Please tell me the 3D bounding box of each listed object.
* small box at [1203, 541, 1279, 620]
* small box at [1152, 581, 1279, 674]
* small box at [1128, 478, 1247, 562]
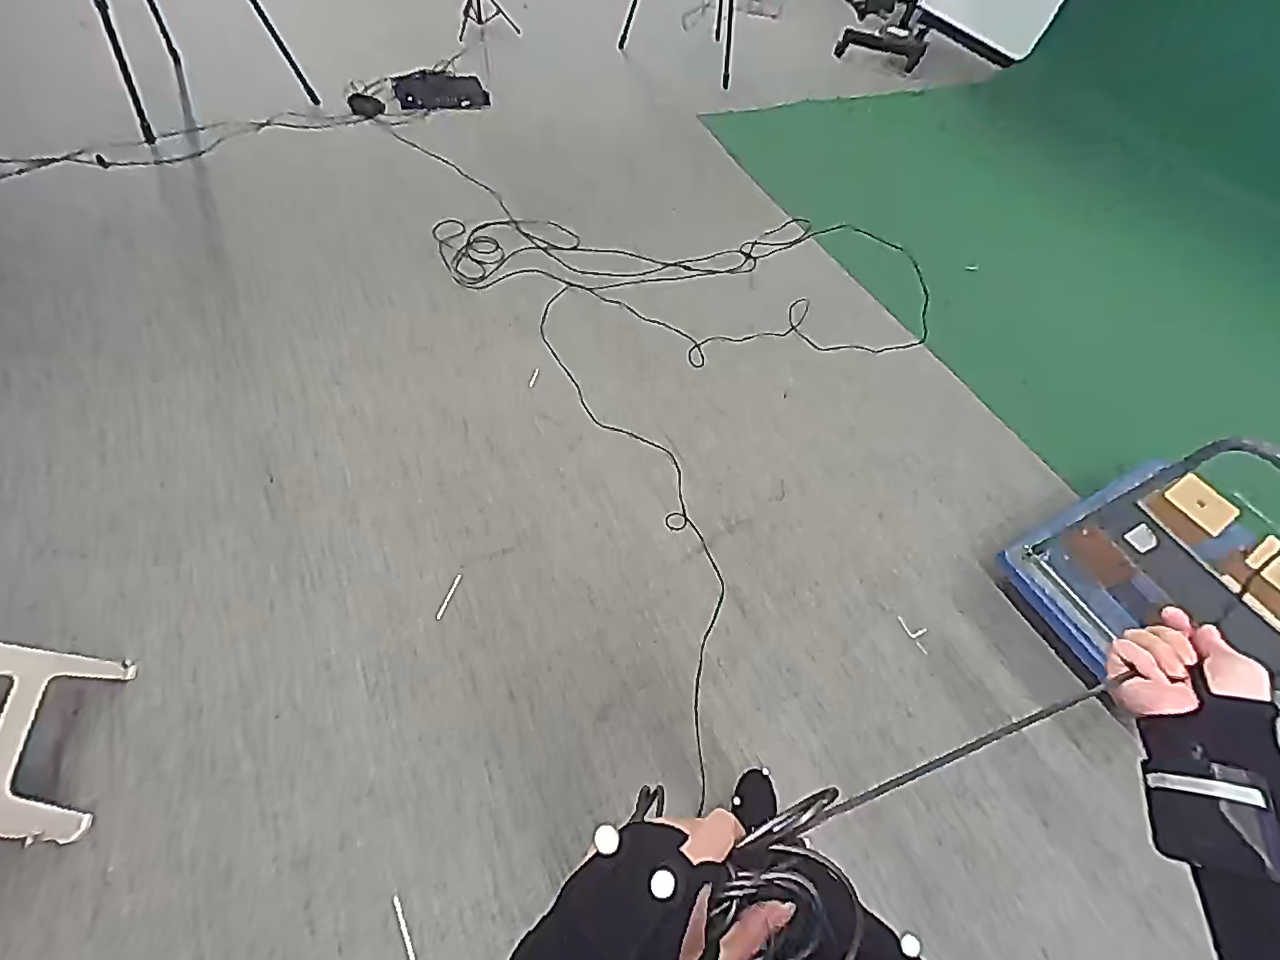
[{"bbox_3d":[1.826,0.314,1.579,0.179,0.176,0.168,-26,63,-20],"label":"small box"},{"bbox_3d":[1.589,0.409,1.490,0.179,0.176,0.168,-21,62,-18],"label":"small box"},{"bbox_3d":[1.692,0.129,1.684,0.179,0.176,0.168,-25,64,-21],"label":"small box"}]
